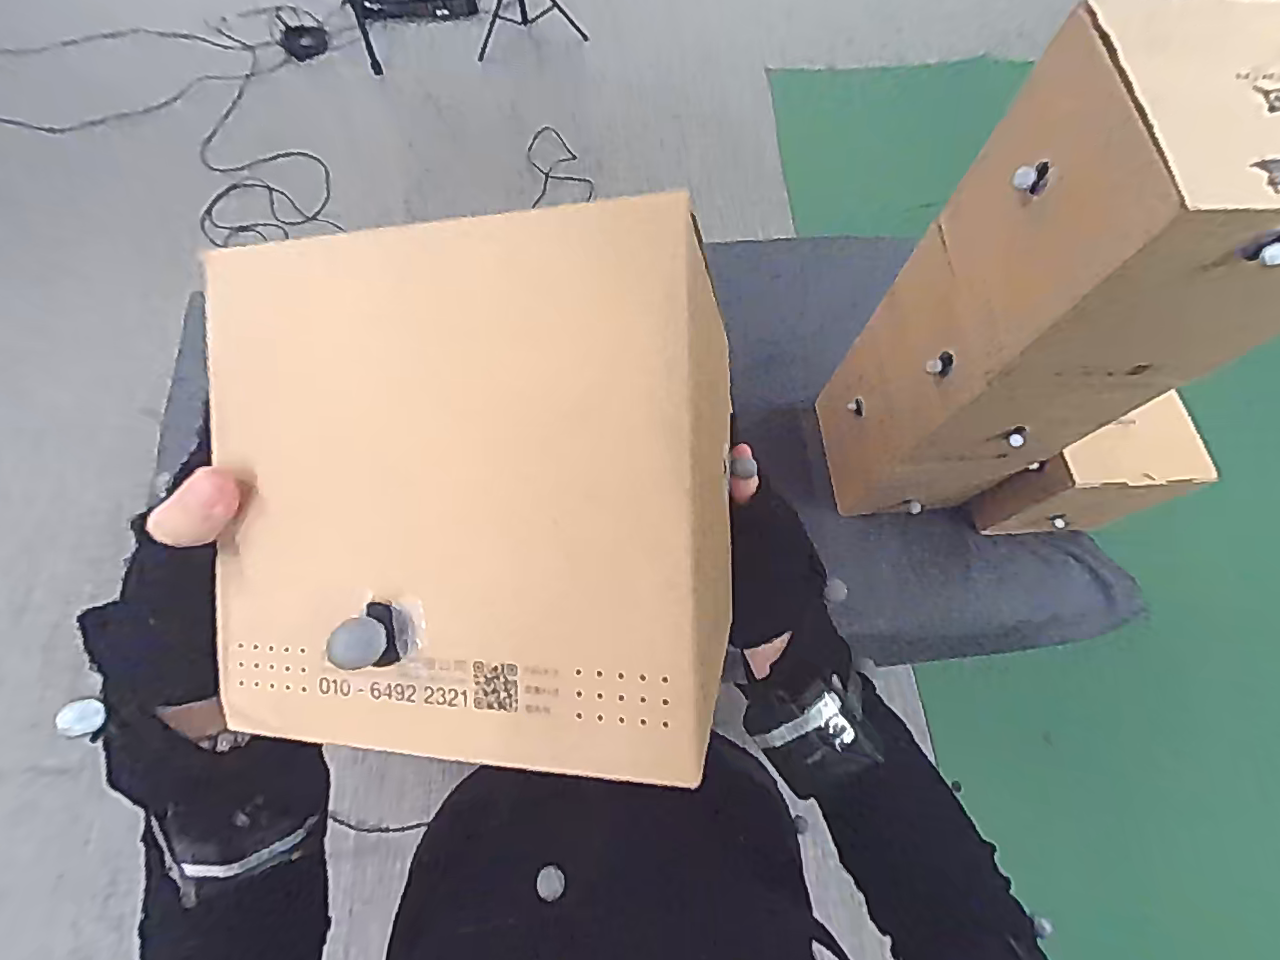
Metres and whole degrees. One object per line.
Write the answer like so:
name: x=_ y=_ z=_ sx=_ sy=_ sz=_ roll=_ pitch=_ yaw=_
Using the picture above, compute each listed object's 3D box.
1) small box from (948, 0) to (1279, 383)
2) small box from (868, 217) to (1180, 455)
small box: x=0.350 y=-0.188 z=0.378 sx=0.168 sy=0.176 sz=0.179 roll=-1 pitch=68 yaw=0
small box: x=0.349 y=-0.130 z=0.533 sx=0.168 sy=0.176 sz=0.179 roll=-2 pitch=69 yaw=-2
